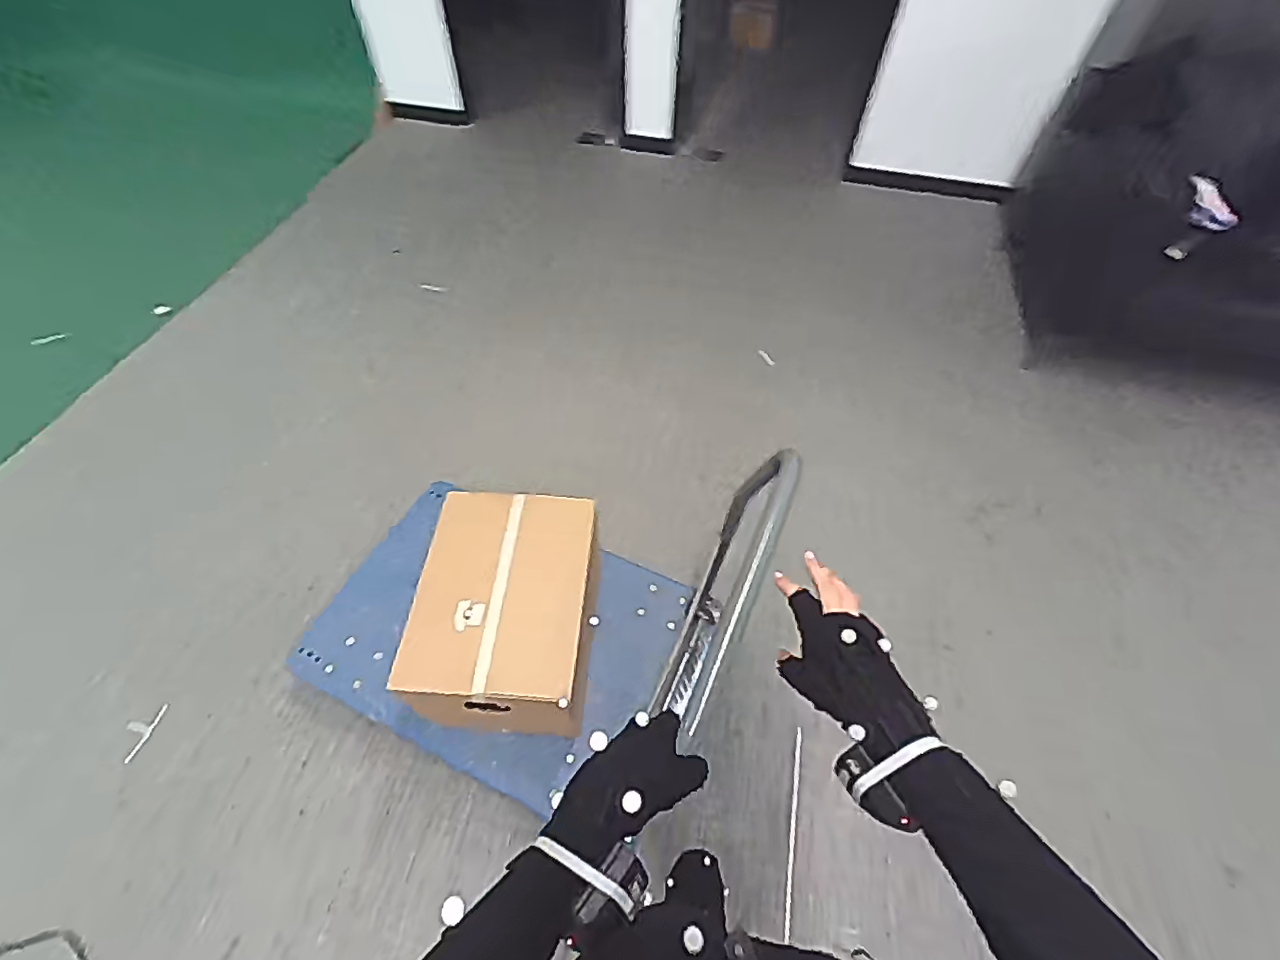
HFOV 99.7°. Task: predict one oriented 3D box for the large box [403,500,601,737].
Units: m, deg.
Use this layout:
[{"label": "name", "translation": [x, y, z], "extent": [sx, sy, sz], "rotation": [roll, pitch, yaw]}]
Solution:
[{"label": "large box", "translation": [-0.252, 0.296, 1.153], "extent": [0.320, 0.320, 0.408], "rotation": [3, 55, 1]}]
